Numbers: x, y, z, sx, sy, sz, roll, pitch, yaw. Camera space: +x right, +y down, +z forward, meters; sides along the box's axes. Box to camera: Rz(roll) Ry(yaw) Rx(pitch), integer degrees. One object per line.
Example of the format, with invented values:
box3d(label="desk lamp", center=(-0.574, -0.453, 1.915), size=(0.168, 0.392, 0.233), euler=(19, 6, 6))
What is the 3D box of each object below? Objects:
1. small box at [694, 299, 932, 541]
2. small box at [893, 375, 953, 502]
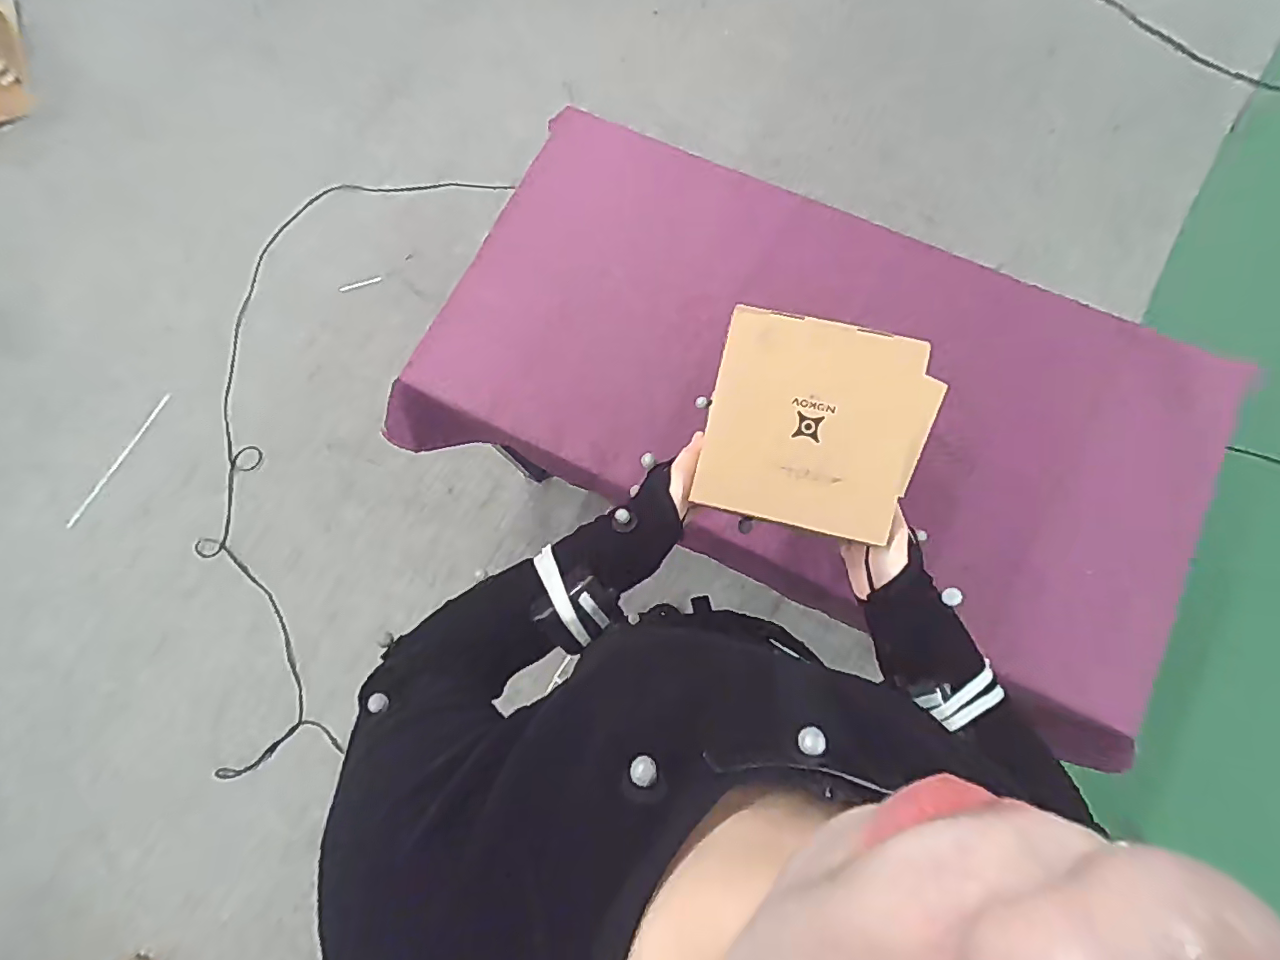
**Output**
box3d(label="small box", center=(0.152, -0.049, 0.535), size=(0.168, 0.176, 0.179), euler=(15, 89, 7))
box3d(label="small box", center=(0.289, -0.070, 0.762), size=(0.179, 0.176, 0.168), euler=(27, 80, 8))
